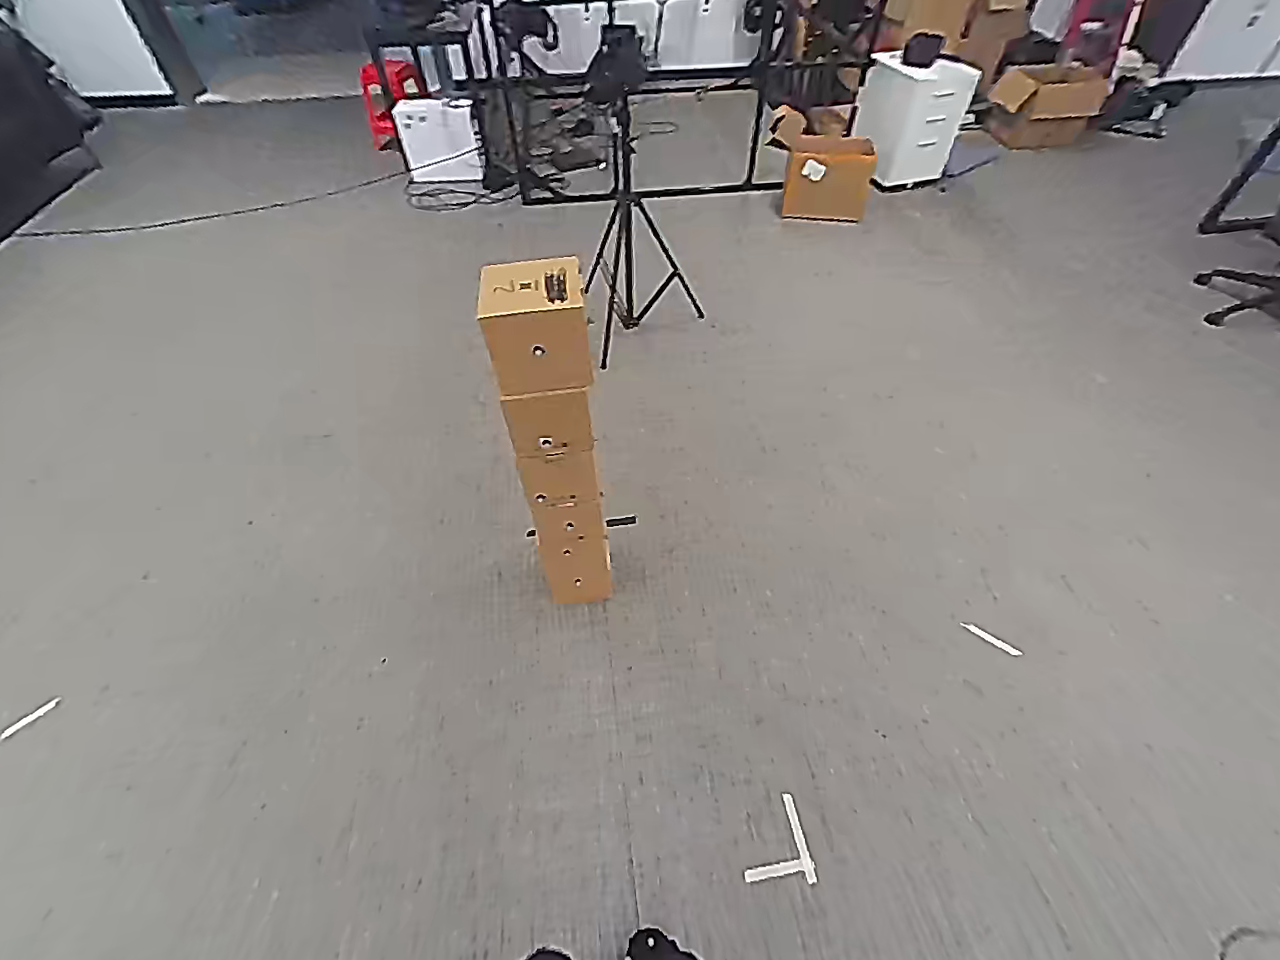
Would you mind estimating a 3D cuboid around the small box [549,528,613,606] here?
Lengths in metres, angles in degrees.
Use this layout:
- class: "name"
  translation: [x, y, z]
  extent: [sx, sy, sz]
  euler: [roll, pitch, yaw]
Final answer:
- class: "small box"
  translation: [-0.174, 0.259, 1.607]
  extent: [0.179, 0.176, 0.168]
  euler: [-6, 51, -4]

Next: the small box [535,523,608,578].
- class: "small box"
  translation: [-0.183, 0.157, 1.478]
  extent: [0.179, 0.176, 0.168]
  euler: [-4, 51, -2]

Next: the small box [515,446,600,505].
- class: "small box"
  translation: [-0.182, -0.057, 1.230]
  extent: [0.168, 0.176, 0.179]
  euler: [-6, 50, -3]

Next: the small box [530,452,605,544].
- class: "small box"
  translation: [-0.177, 0.050, 1.355]
  extent: [0.168, 0.176, 0.179]
  euler: [-5, 51, -3]

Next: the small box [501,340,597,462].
- class: "small box"
  translation: [-0.182, -0.161, 1.106]
  extent: [0.168, 0.176, 0.179]
  euler: [-8, 52, -4]
